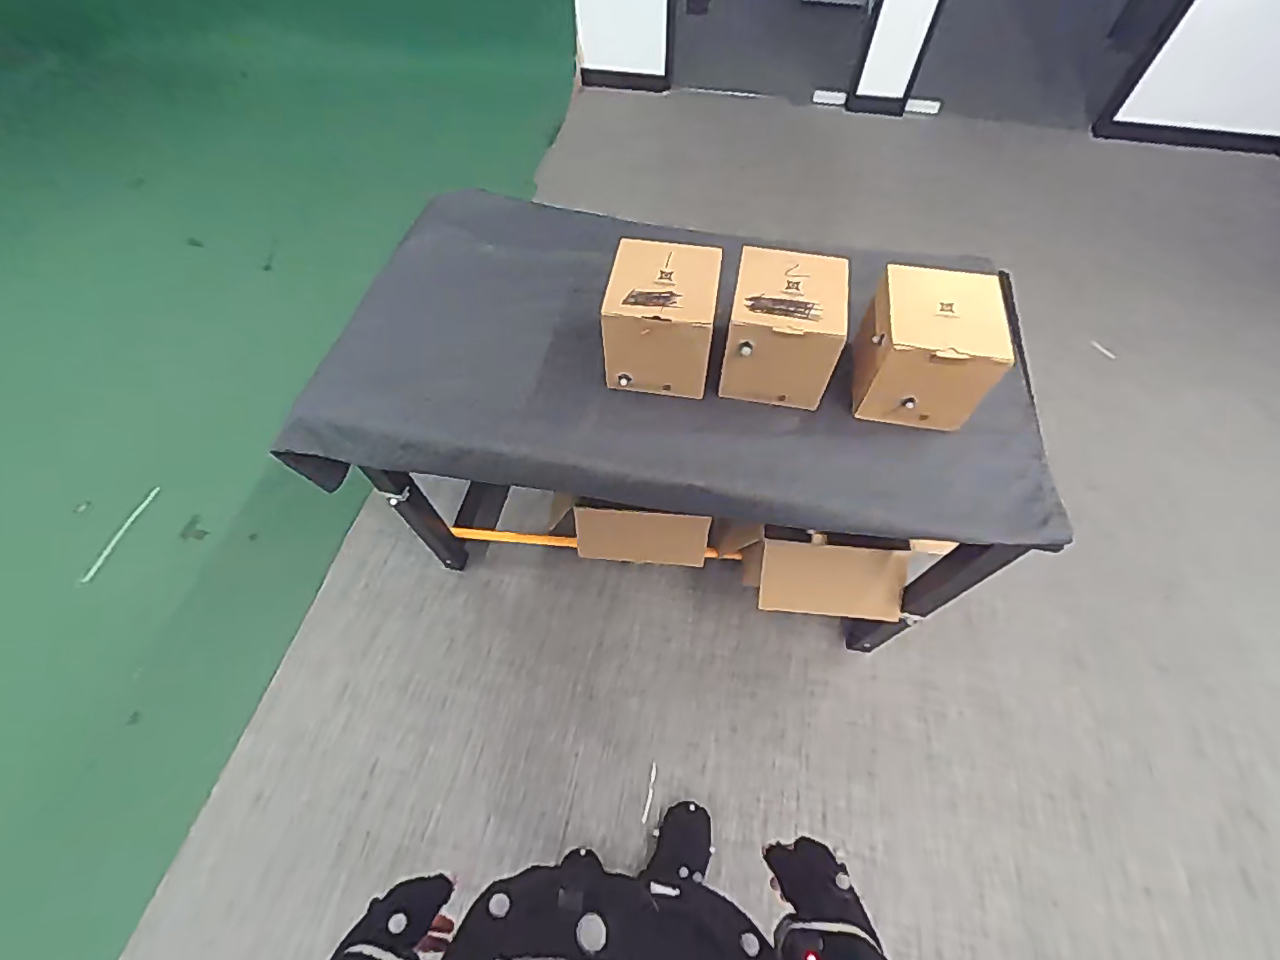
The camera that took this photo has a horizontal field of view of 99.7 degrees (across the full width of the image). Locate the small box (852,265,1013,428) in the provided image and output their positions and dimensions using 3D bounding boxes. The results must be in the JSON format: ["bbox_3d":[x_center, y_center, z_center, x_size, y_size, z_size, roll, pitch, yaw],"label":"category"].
[{"bbox_3d":[0.445,-0.208,0.855,0.168,0.176,0.179,8,60,6],"label":"small box"}]

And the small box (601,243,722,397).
[{"bbox_3d":[0.037,-0.257,0.890,0.168,0.176,0.179,8,60,5],"label":"small box"}]
